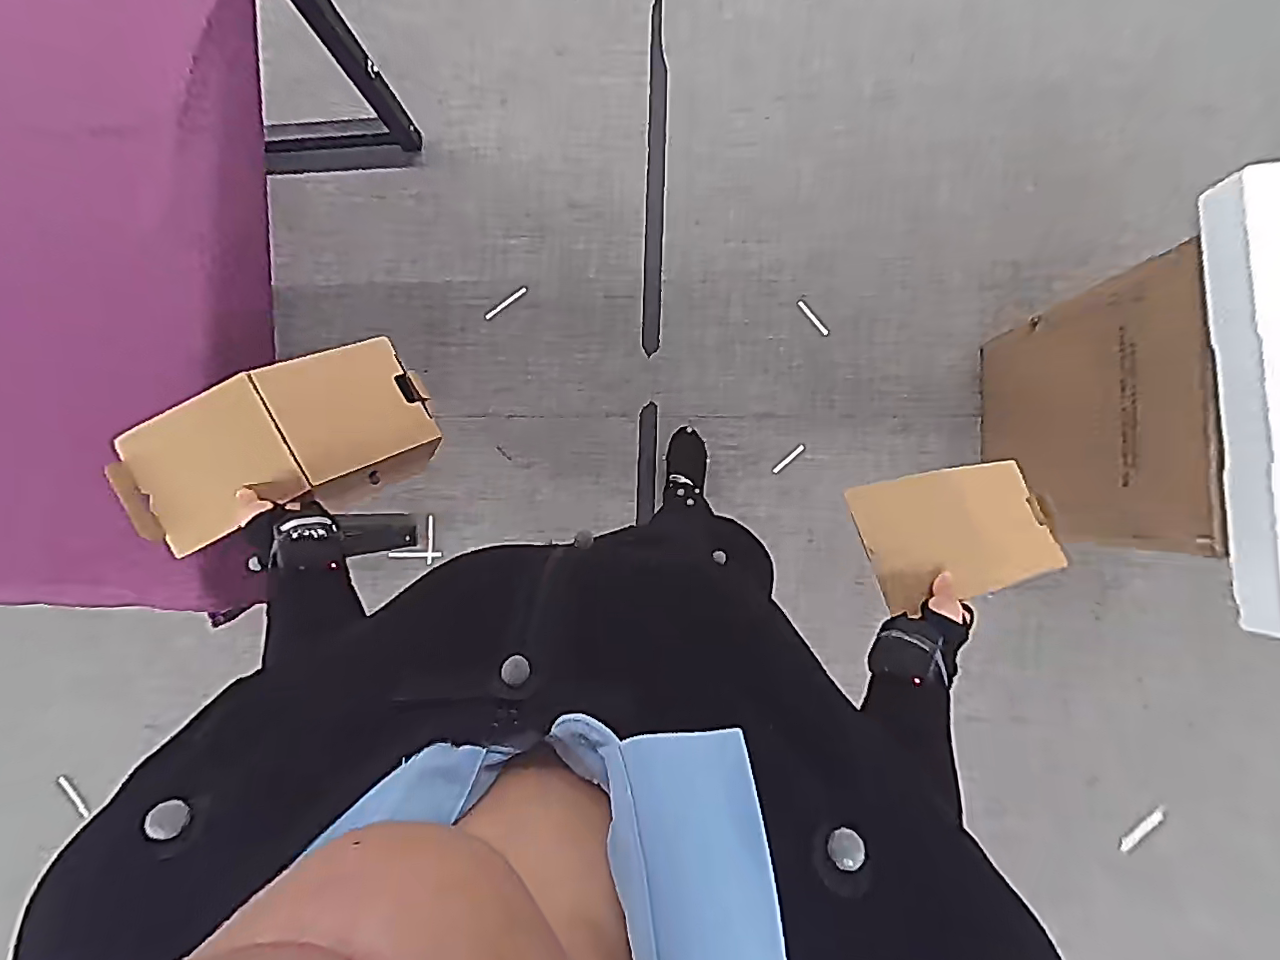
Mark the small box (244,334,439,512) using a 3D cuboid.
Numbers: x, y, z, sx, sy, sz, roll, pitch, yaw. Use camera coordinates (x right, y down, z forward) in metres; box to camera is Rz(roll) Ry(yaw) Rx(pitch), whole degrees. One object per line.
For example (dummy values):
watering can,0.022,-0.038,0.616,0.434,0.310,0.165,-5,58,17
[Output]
small box,-0.412,-0.073,0.759,0.179,0.176,0.168,-29,90,-34
